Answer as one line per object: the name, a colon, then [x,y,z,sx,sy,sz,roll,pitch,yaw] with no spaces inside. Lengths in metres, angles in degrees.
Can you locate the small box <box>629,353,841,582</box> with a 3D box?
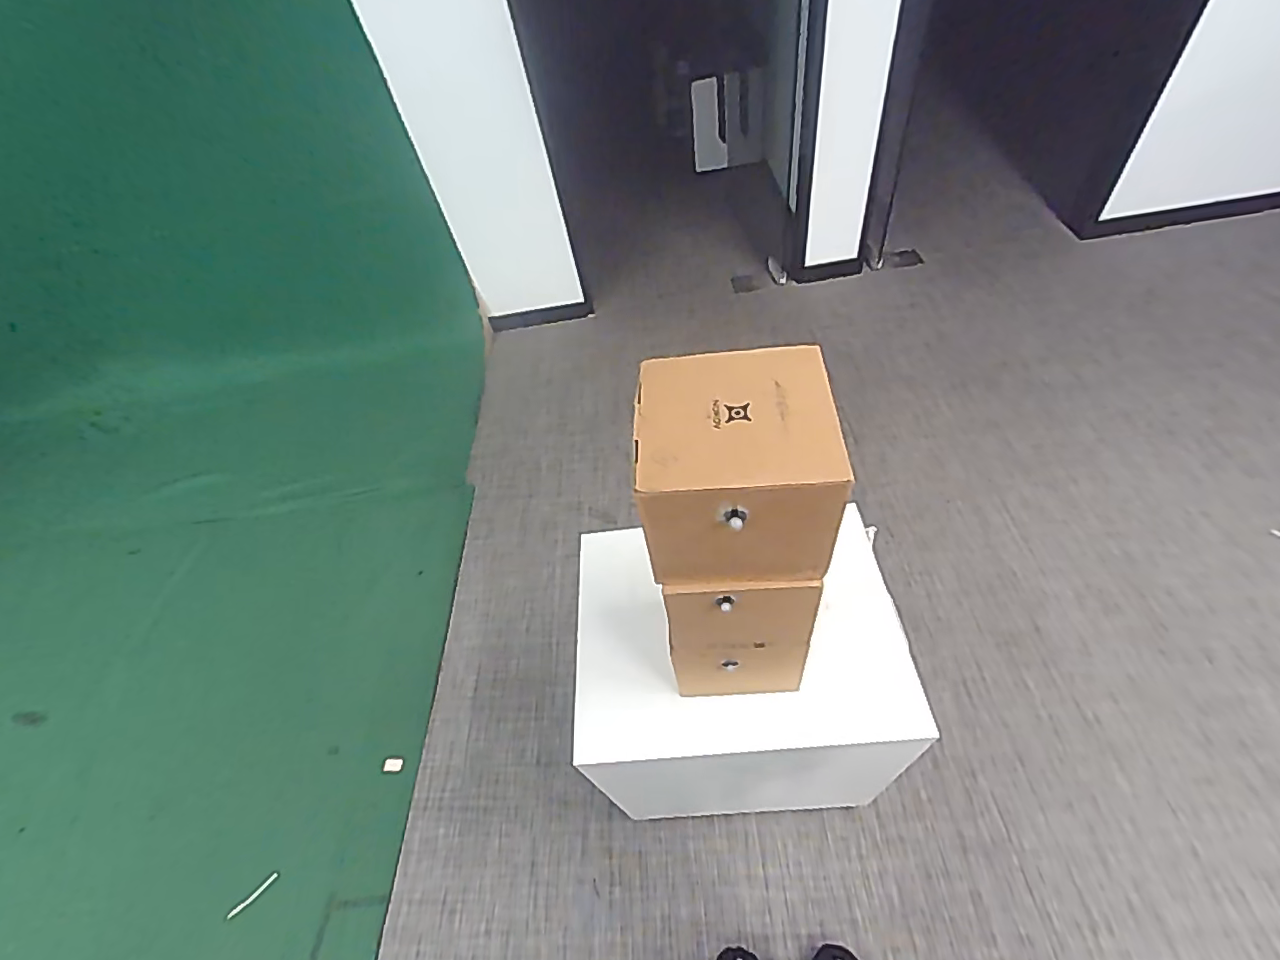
small box: [0.090,-0.006,0.552,0.179,0.176,0.168,-3,52,7]

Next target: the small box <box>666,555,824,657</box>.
small box: [0.116,0.102,0.675,0.168,0.176,0.179,-6,51,4]

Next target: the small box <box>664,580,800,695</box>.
small box: [0.132,0.207,0.795,0.179,0.176,0.168,-5,50,6]
